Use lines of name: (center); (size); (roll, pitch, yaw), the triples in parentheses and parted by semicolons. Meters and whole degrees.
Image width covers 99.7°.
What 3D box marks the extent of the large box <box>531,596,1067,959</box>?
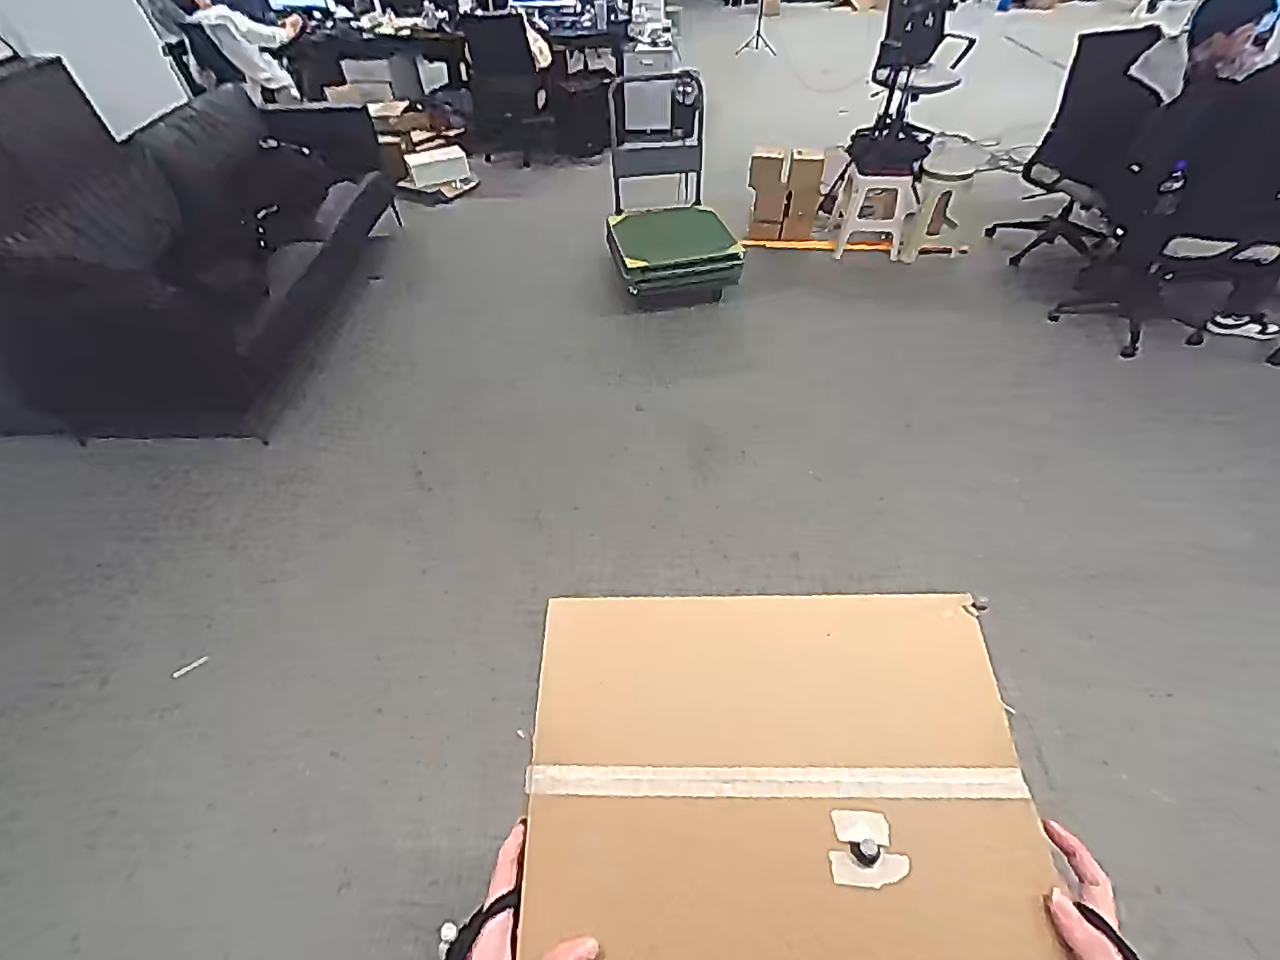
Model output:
large box: (0.120, 0.328, 0.591); (0.408, 0.320, 0.320); (-2, 61, 3)
